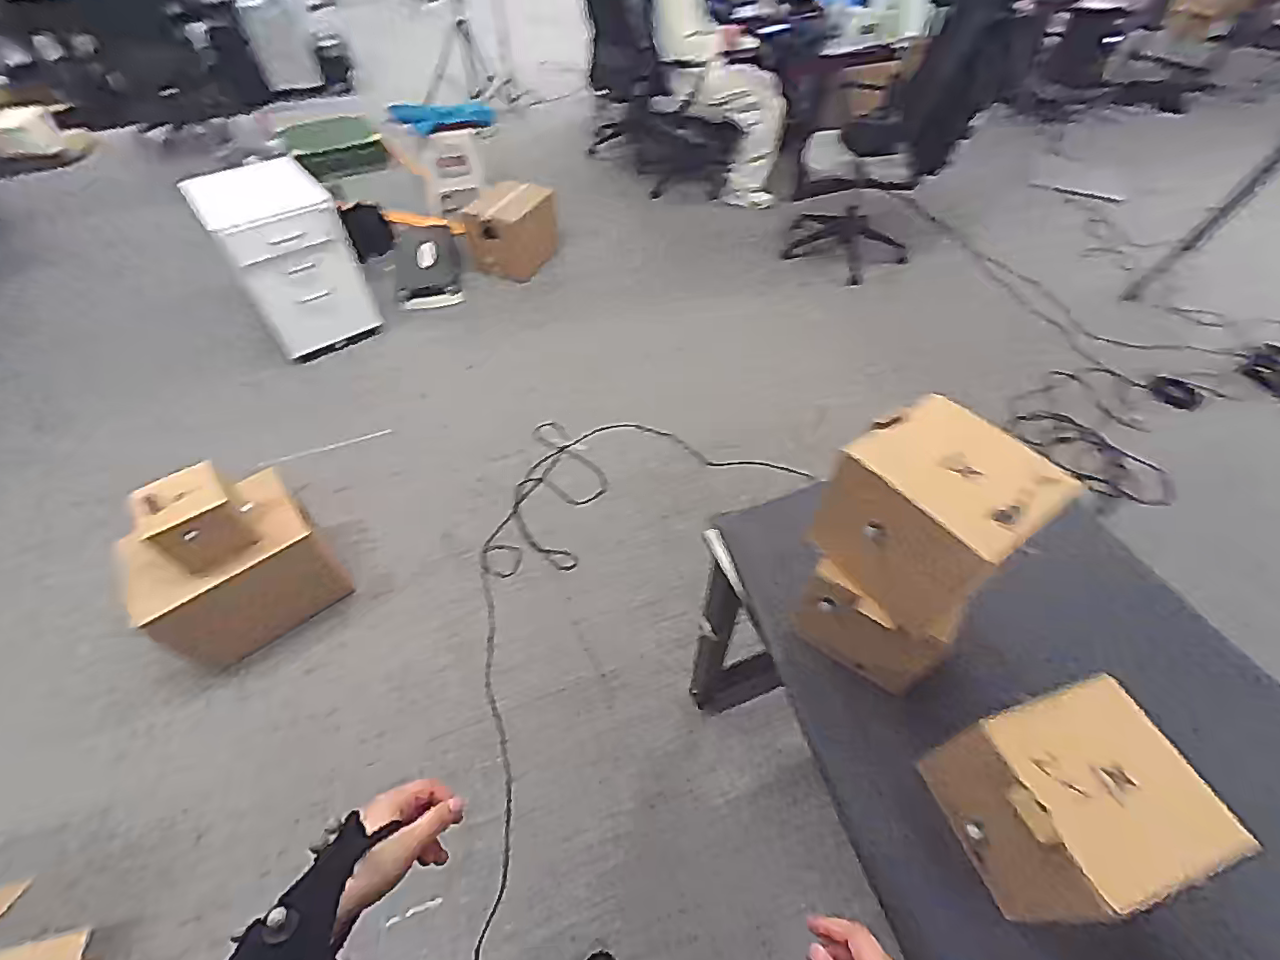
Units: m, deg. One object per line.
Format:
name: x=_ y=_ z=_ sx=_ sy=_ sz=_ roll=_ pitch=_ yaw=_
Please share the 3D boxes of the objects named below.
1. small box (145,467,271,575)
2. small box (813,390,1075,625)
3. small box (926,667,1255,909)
small box: x=-1.078 y=0.106 z=1.358 sx=0.179 sy=0.176 sz=0.168 roll=-32 pitch=58 yaw=-23
small box: x=0.330 y=0.032 z=0.627 sx=0.168 sy=0.176 sz=0.179 roll=-28 pitch=54 yaw=-22
small box: x=0.455 y=0.333 z=0.584 sx=0.179 sy=0.176 sz=0.168 roll=-14 pitch=50 yaw=-11
